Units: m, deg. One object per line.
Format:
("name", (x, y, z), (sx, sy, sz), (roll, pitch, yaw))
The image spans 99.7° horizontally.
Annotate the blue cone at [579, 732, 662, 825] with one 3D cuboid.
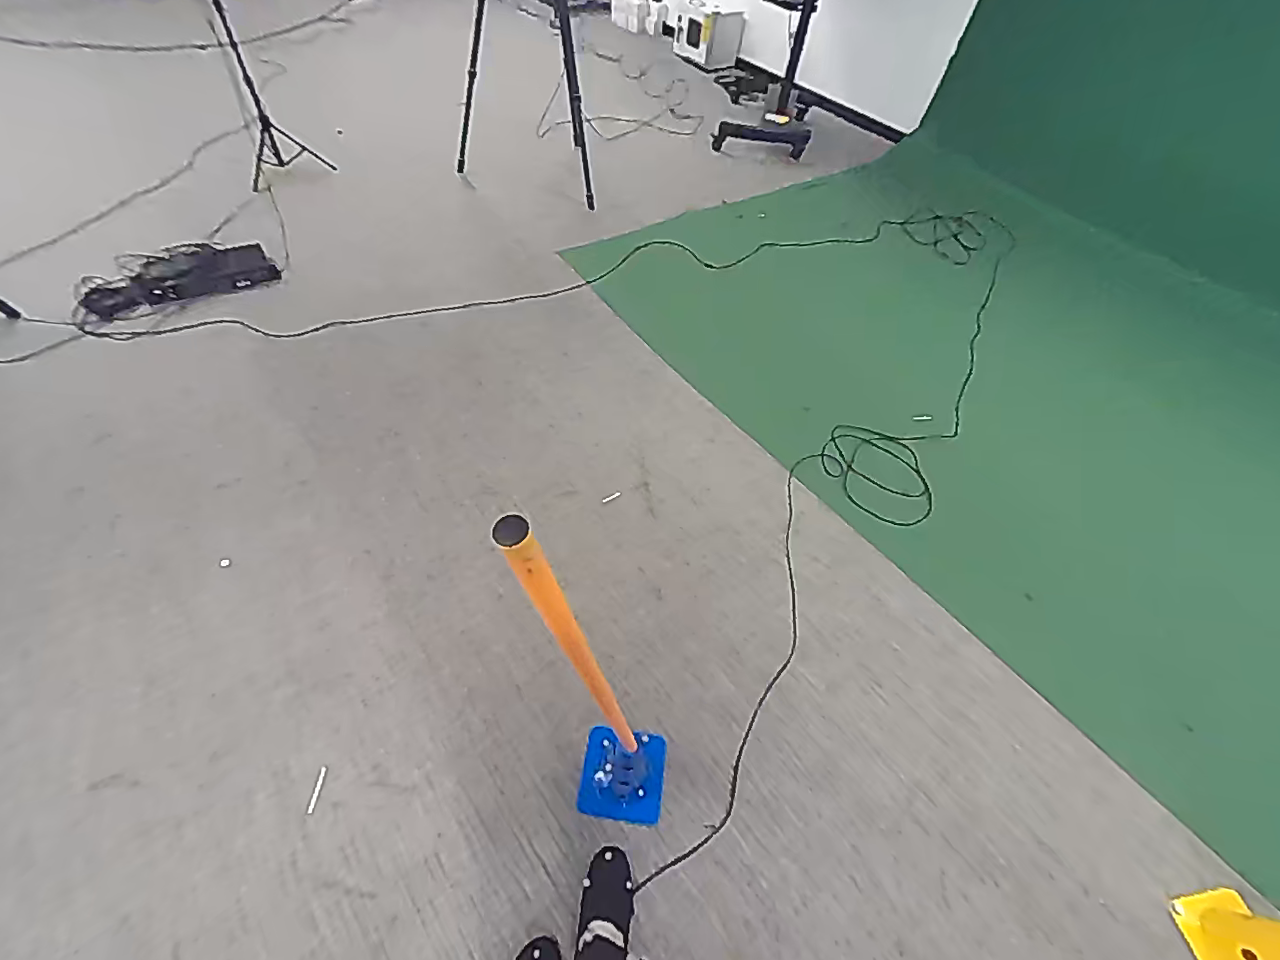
("blue cone", (-0.035, 0.619, 1.174), (0.193, 0.380, 0.192), (8, 53, 2))
